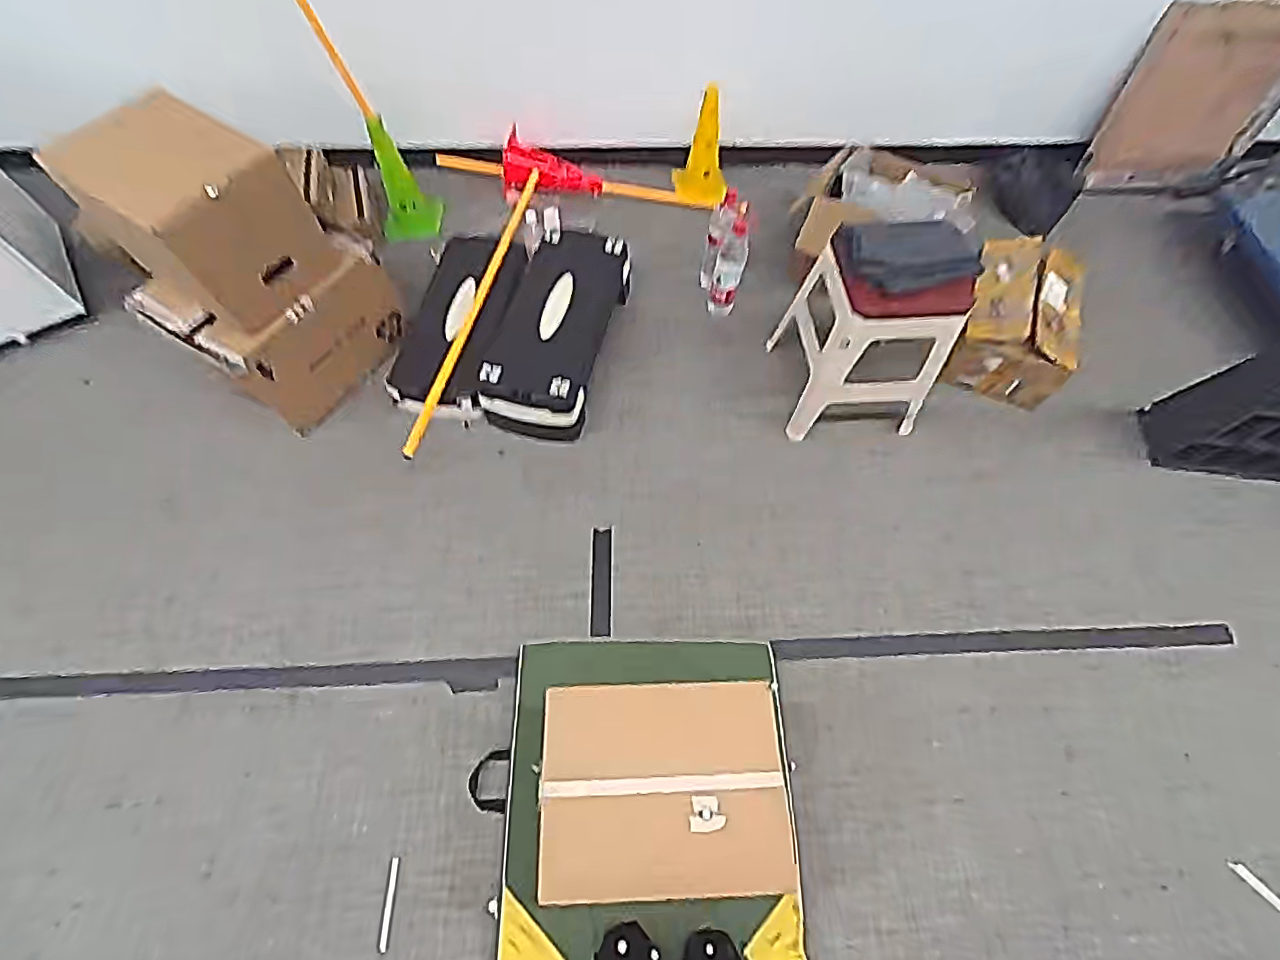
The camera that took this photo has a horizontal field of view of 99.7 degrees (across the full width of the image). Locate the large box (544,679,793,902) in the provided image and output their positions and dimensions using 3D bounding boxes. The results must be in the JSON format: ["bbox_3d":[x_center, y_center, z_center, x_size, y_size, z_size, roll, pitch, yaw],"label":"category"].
[{"bbox_3d":[0.032,0.580,1.046,0.408,0.320,0.320,-1,63,-3],"label":"large box"}]
